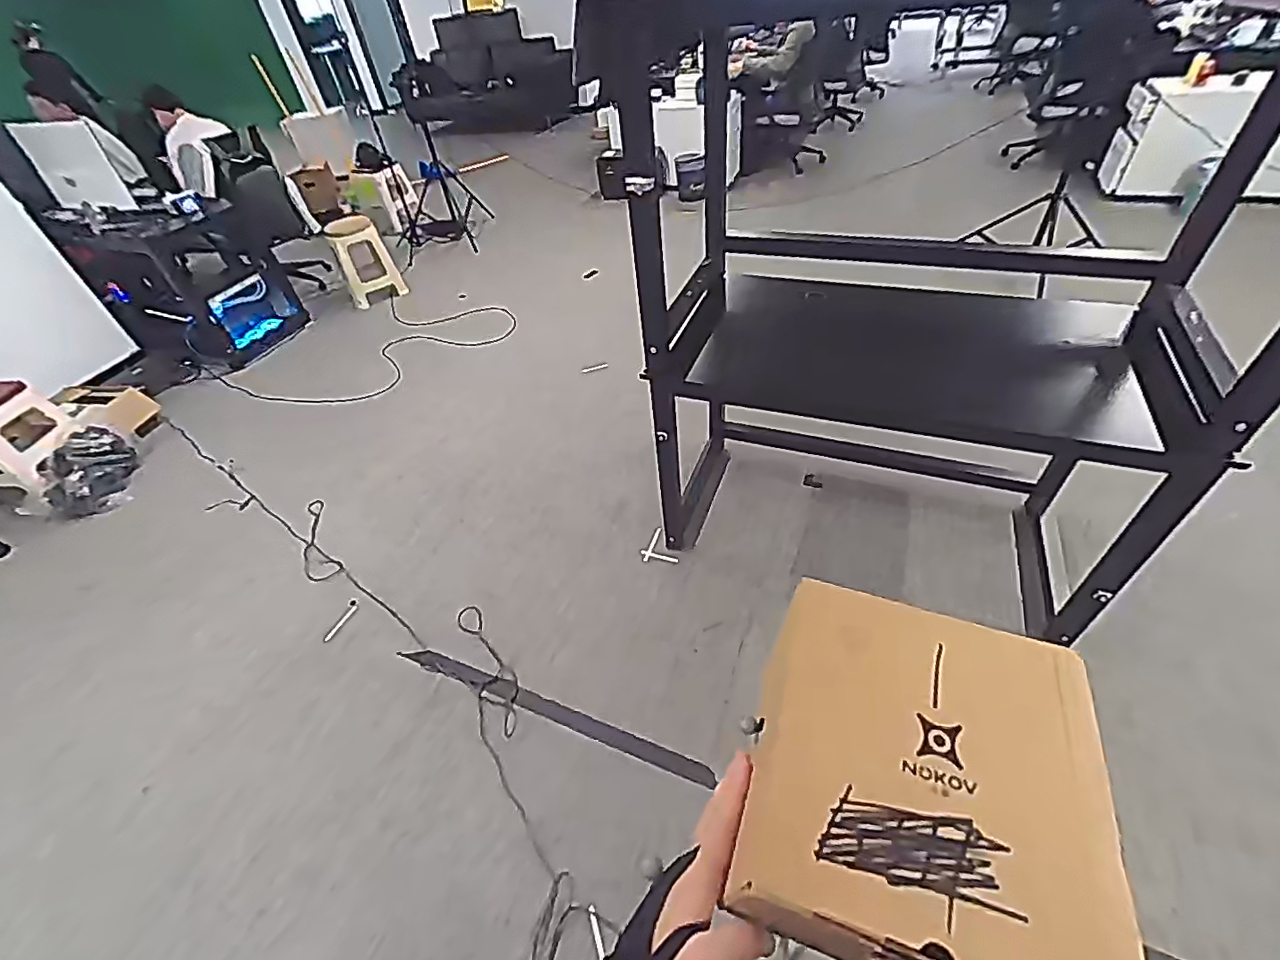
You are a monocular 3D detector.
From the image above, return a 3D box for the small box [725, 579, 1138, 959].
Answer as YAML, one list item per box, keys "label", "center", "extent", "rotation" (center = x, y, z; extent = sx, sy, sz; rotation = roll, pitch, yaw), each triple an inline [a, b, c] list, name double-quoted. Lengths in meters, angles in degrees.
- label: "small box"
  center: [0.155, 0.198, 0.343]
  extent: [0.168, 0.176, 0.179]
  rotation: [14, 50, 13]
